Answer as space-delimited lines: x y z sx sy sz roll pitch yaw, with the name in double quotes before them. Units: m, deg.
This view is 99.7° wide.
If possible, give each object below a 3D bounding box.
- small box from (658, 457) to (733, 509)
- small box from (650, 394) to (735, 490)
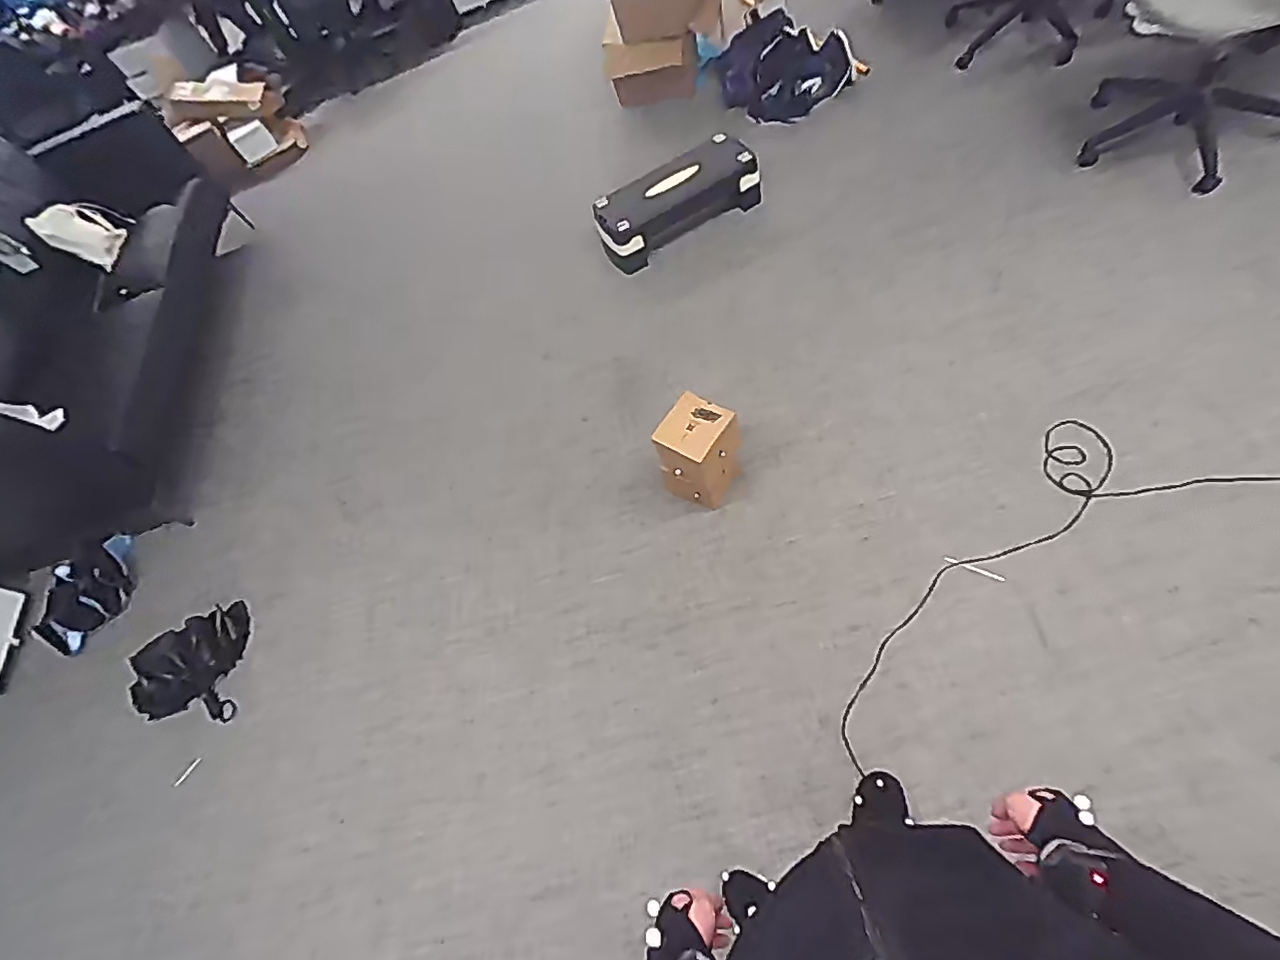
"small box" 0.180 -0.034 1.673 0.168 0.176 0.179 21 68 24
"small box" 0.156 -0.103 1.525 0.168 0.176 0.179 29 74 27
